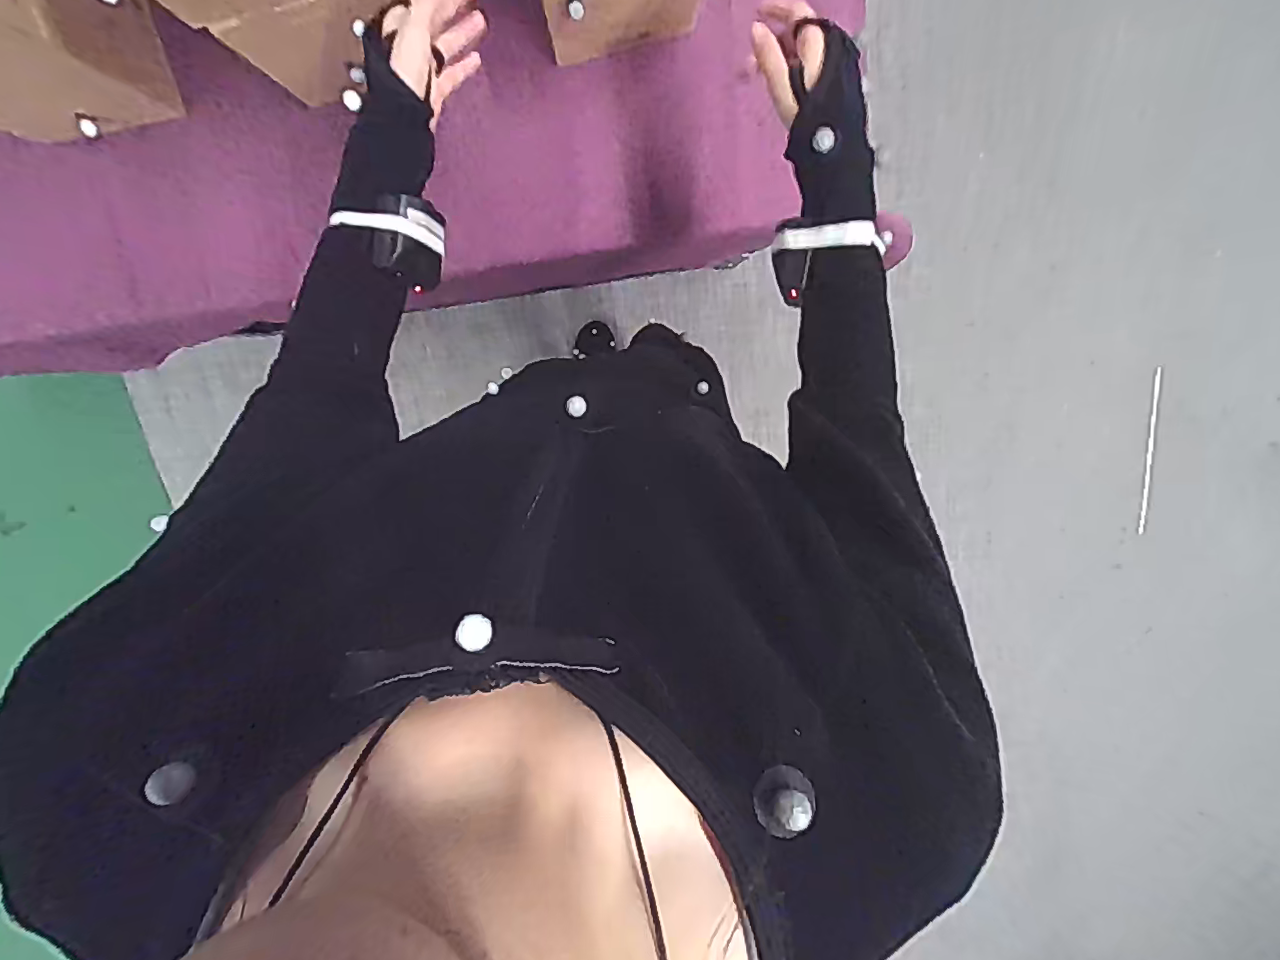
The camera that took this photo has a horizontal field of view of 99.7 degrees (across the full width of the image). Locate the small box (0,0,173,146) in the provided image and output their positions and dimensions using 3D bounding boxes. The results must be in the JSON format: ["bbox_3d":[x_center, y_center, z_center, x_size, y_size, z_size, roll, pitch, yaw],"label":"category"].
[{"bbox_3d":[-0.626,-0.463,0.540,0.179,0.176,0.168,-11,105,0],"label":"small box"}]

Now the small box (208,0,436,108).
[{"bbox_3d":[-0.332,-0.517,0.539,0.168,0.176,0.179,-15,106,2],"label":"small box"}]
